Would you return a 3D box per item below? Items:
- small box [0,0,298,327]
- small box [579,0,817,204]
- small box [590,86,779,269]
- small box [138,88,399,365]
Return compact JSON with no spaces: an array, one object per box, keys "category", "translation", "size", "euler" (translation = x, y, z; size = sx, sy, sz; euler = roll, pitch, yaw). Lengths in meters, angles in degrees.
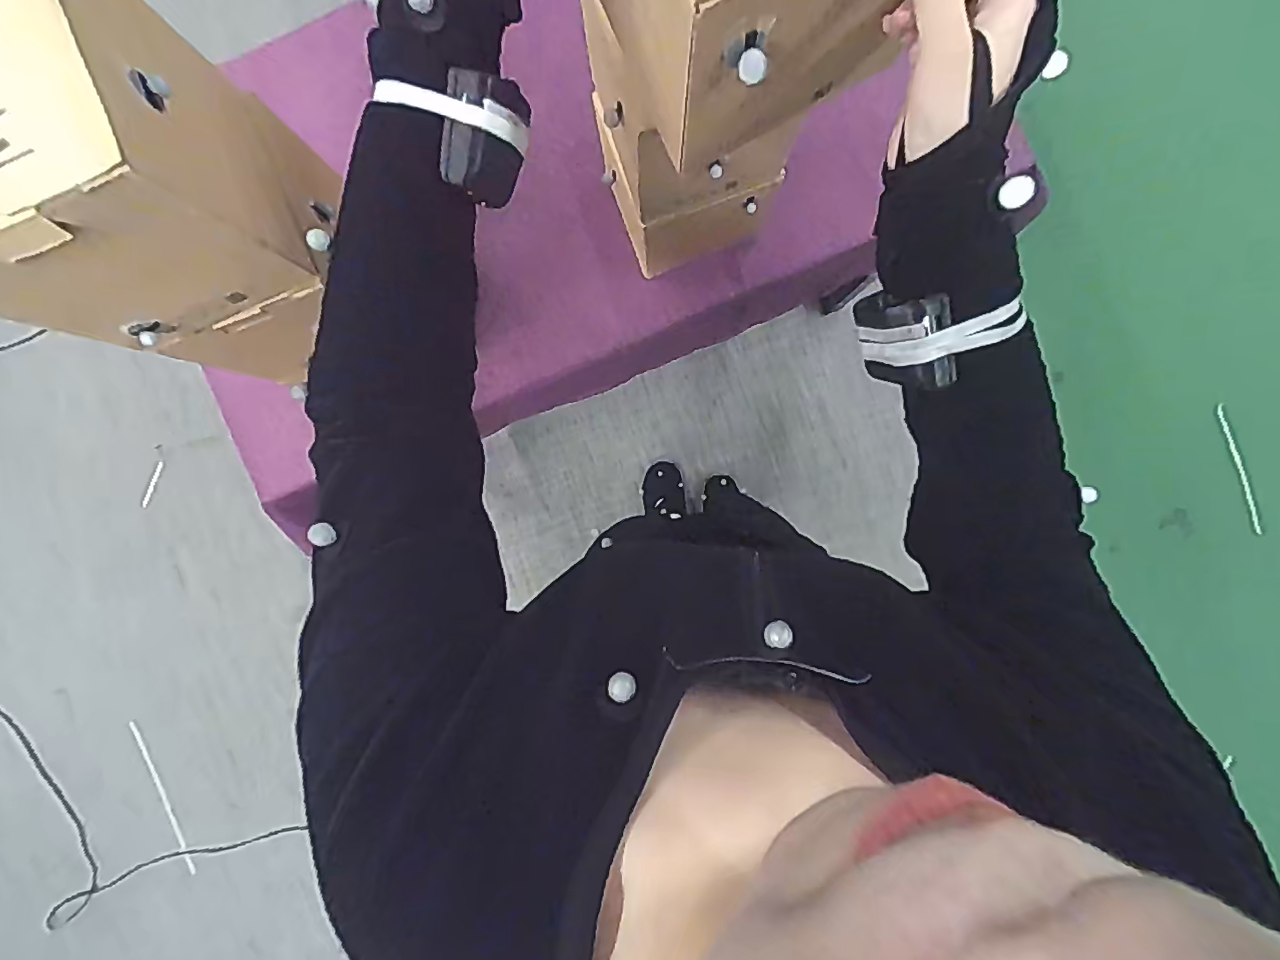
[{"category":"small box","translation":[-0.384,-0.223,0.373],"size":[0.168,0.176,0.179],"euler":[-22,90,1]},{"category":"small box","translation":[0.046,-0.395,0.519],"size":[0.168,0.176,0.179],"euler":[-18,91,1]},{"category":"small box","translation":[0.053,-0.394,0.684],"size":[0.179,0.176,0.168],"euler":[-20,91,2]},{"category":"small box","translation":[-0.372,-0.225,0.537],"size":[0.168,0.176,0.179],"euler":[-19,90,2]}]
